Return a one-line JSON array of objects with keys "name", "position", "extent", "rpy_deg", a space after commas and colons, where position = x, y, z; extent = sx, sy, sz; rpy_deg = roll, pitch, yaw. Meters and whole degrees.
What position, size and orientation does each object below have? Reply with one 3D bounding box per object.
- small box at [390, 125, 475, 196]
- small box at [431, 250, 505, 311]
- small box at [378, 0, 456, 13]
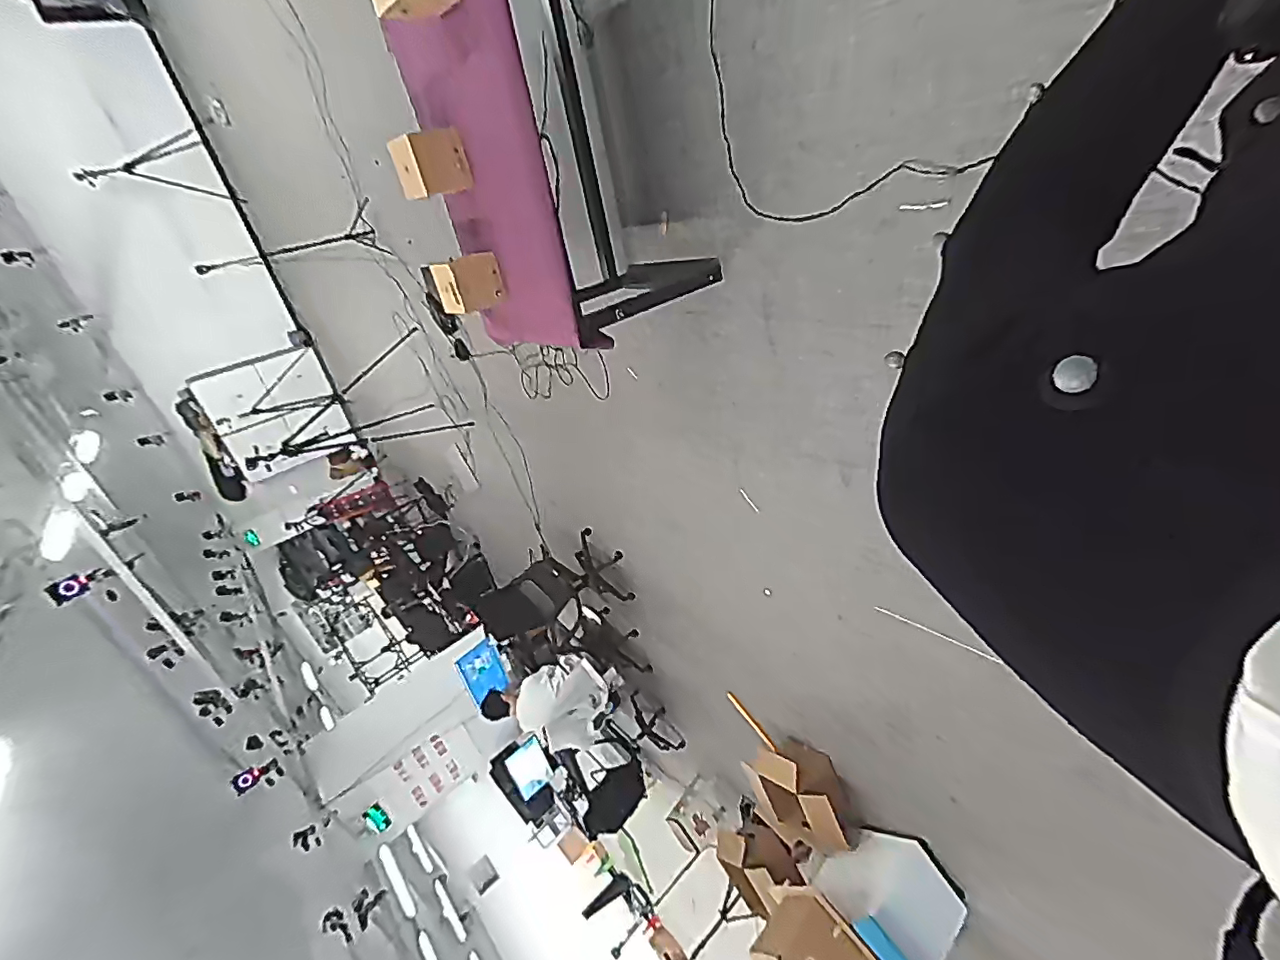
[{"name": "small box", "position": [-0.647, -0.999, 1.695], "extent": [0.179, 0.176, 0.168], "rpy_deg": [22, 134, 44]}, {"name": "small box", "position": [-0.587, -0.693, 1.871], "extent": [0.179, 0.176, 0.168], "rpy_deg": [22, 133, 46]}, {"name": "small box", "position": [-0.557, -1.270, 1.322], "extent": [0.179, 0.176, 0.168], "rpy_deg": [25, 137, 45]}]
